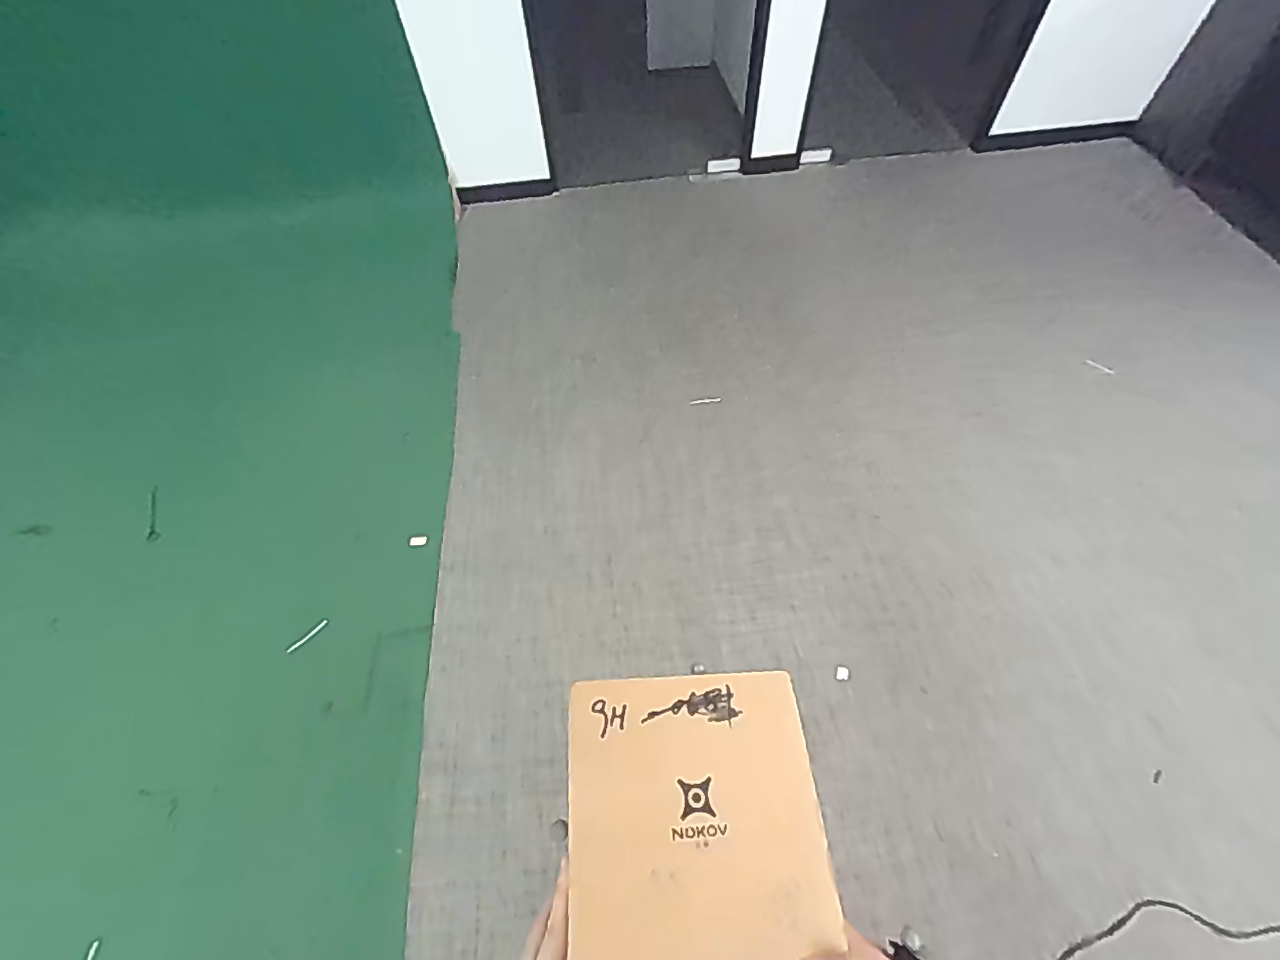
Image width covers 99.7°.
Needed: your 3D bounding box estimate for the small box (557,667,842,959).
[{"bbox_3d":[0.026,0.254,0.411,0.168,0.176,0.179,0,56,-6],"label":"small box"}]
